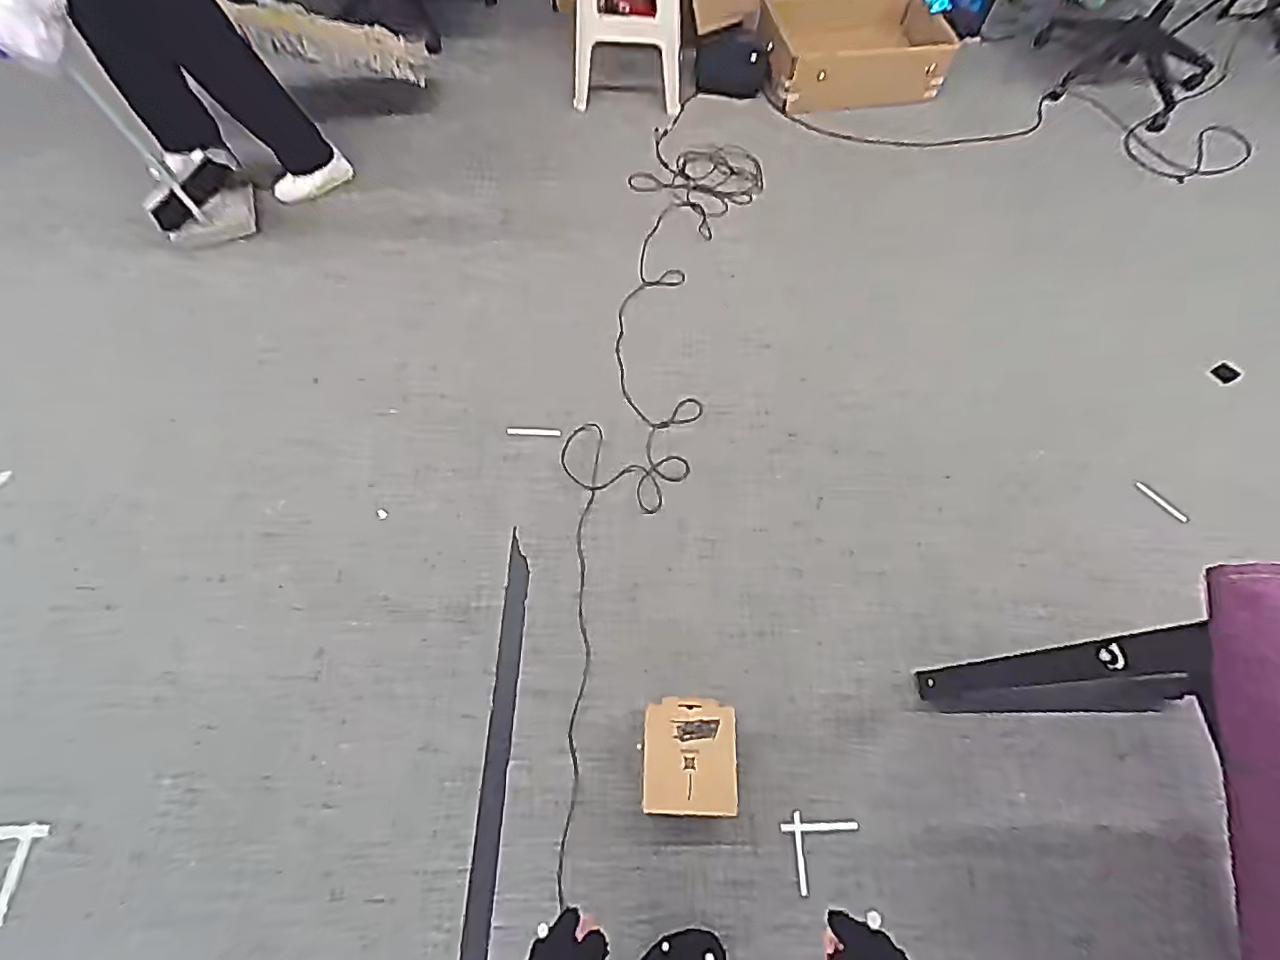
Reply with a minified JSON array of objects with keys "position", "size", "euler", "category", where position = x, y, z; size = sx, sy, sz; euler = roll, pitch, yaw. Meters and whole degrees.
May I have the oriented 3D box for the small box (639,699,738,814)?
[{"position":[0.086,0.517,1.023],"size":[0.168,0.176,0.179],"euler":[3,65,0],"category":"small box"}]
